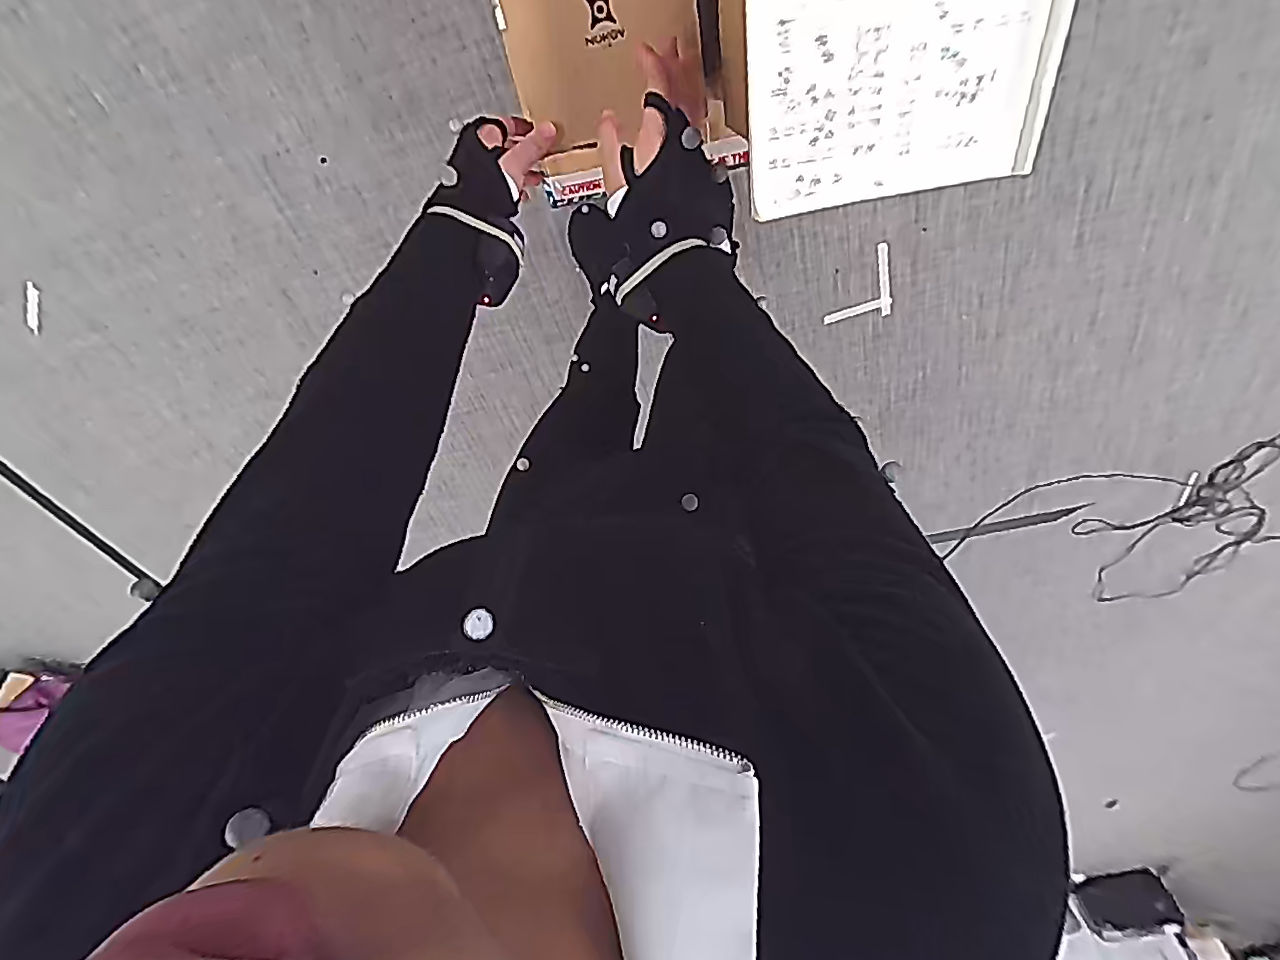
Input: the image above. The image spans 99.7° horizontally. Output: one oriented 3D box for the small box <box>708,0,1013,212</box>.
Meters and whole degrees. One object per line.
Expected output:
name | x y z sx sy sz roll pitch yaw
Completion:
small box | 0.147 -0.328 0.409 0.168 0.176 0.179 -9 130 3
